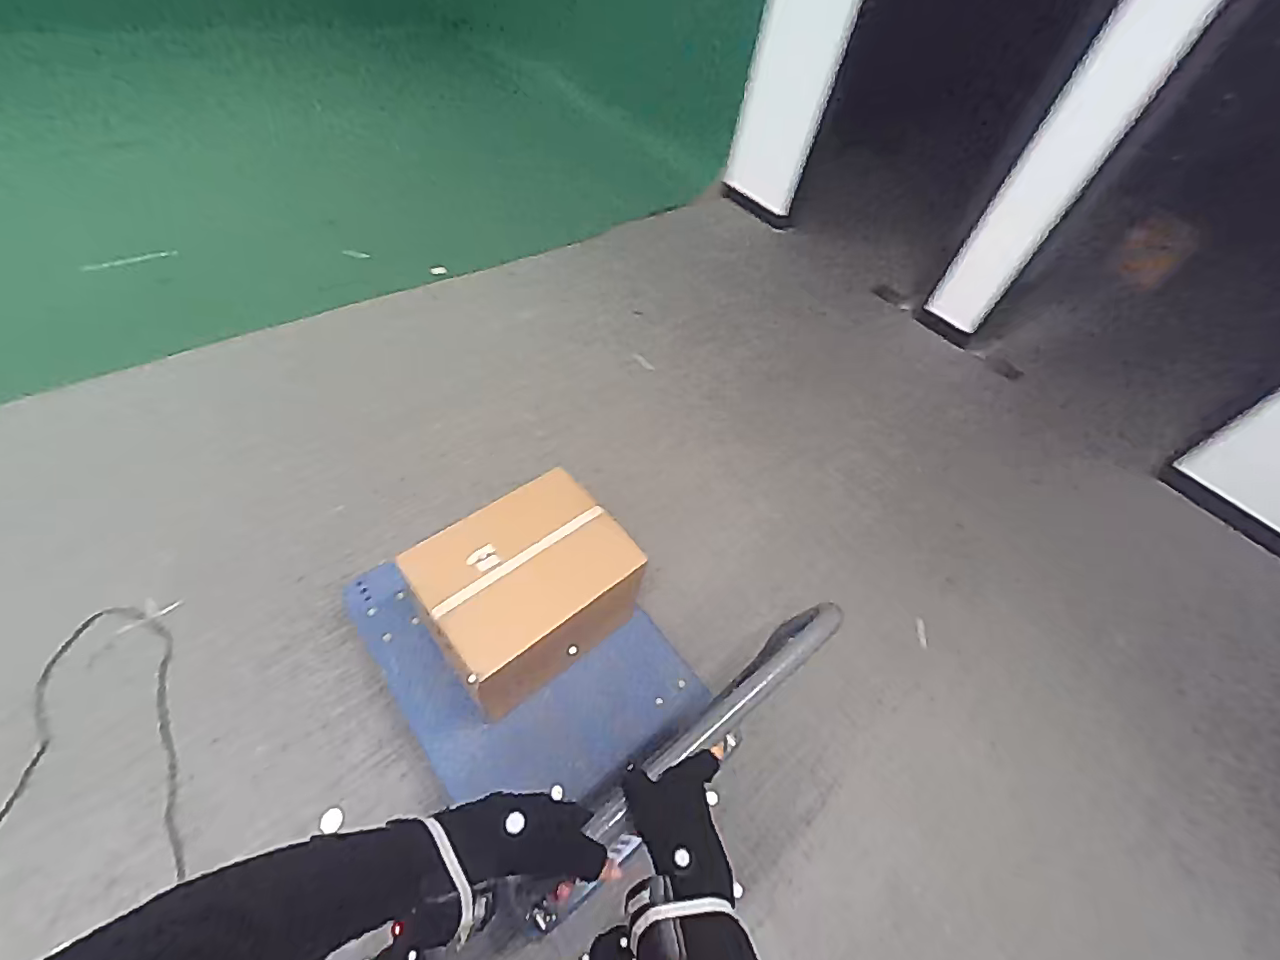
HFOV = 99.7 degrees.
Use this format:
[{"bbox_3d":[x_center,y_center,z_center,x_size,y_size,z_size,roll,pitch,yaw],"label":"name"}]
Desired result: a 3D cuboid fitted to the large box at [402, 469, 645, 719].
[{"bbox_3d":[-0.247,0.252,1.221,0.408,0.320,0.320,-32,63,-28],"label":"large box"}]
